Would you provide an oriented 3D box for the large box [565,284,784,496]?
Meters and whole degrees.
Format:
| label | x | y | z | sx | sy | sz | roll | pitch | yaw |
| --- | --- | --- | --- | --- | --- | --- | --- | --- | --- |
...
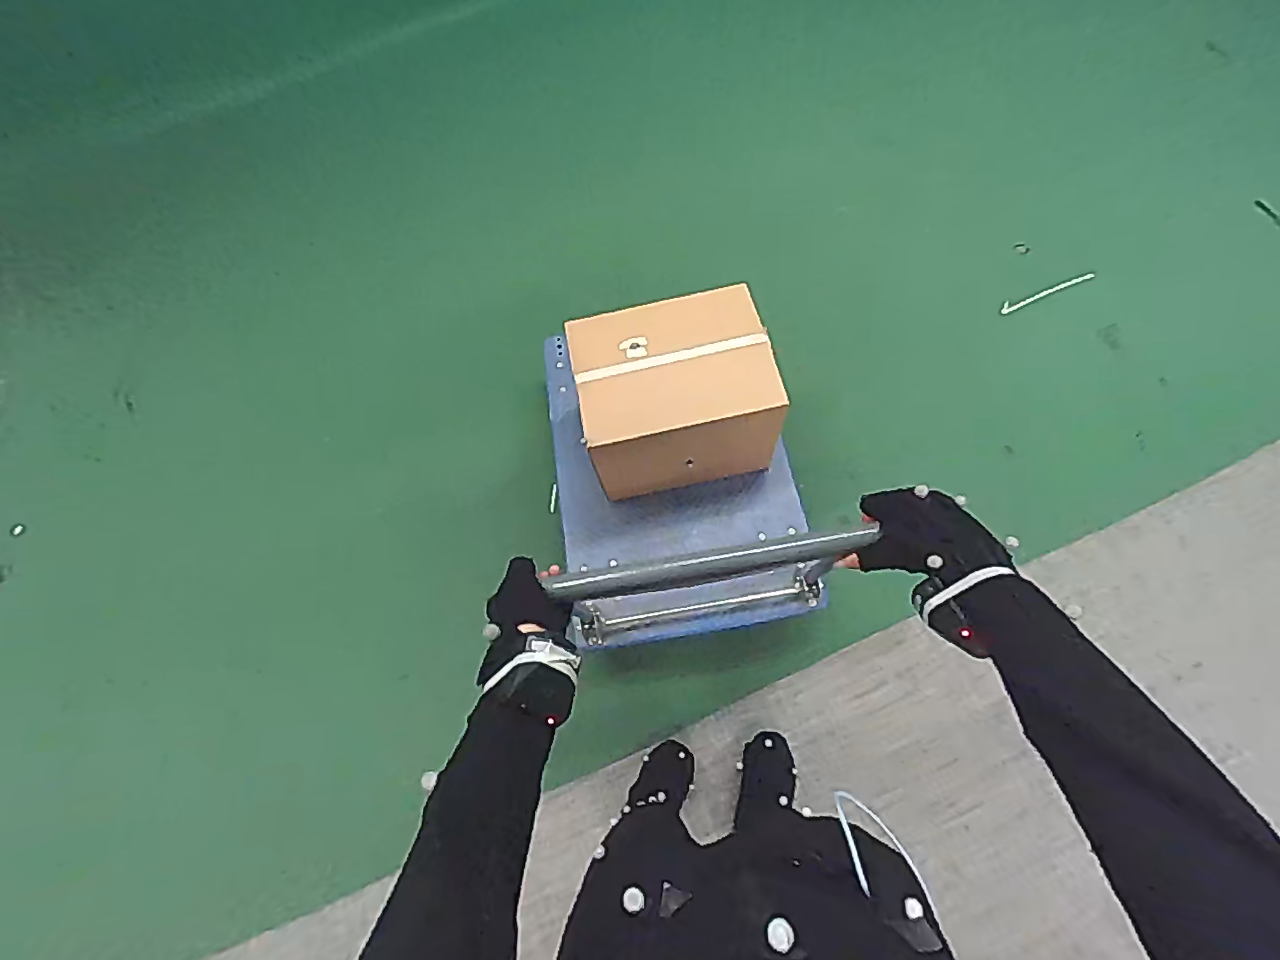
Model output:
| label | x | y | z | sx | sy | sz | roll | pitch | yaw |
| --- | --- | --- | --- | --- | --- | --- | --- | --- | --- |
| large box | 0.076 | -0.191 | 1.257 | 0.408 | 0.320 | 0.320 | -13 | 67 | 1 |
